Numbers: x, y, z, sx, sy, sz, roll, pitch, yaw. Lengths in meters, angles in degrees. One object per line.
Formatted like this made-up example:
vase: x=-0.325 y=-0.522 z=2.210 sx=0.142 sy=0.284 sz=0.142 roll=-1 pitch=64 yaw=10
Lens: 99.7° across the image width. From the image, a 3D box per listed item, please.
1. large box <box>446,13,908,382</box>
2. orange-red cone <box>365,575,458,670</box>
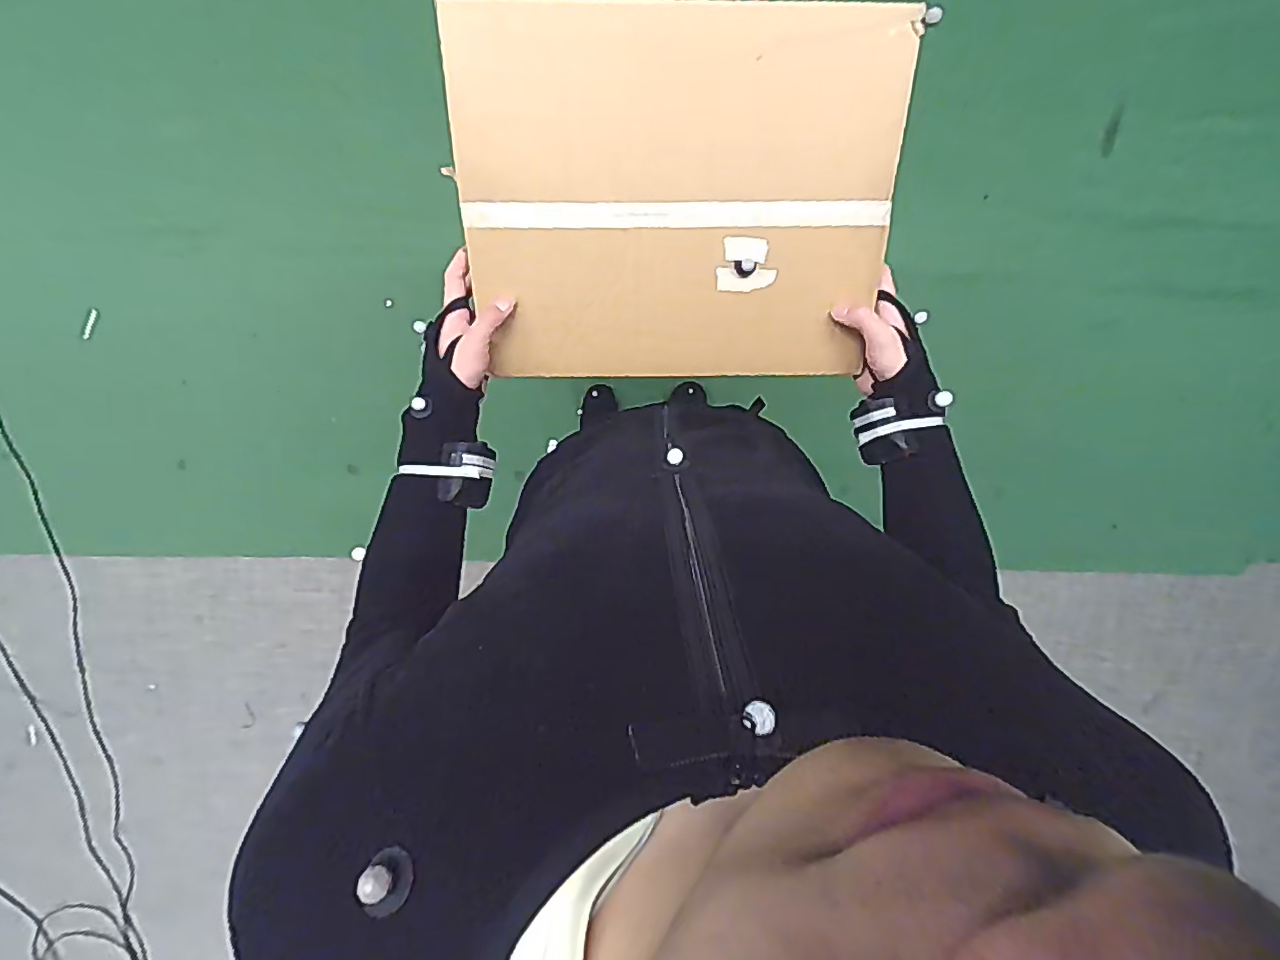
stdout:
large box: x=0.029 y=-0.315 z=0.655 sx=0.408 sy=0.320 sz=0.320 roll=-2 pitch=116 yaw=-2
orange-red cone: x=-0.676 y=0.430 z=1.525 sx=0.199 sy=0.360 sz=0.198 roll=9 pitch=100 yaw=-2
